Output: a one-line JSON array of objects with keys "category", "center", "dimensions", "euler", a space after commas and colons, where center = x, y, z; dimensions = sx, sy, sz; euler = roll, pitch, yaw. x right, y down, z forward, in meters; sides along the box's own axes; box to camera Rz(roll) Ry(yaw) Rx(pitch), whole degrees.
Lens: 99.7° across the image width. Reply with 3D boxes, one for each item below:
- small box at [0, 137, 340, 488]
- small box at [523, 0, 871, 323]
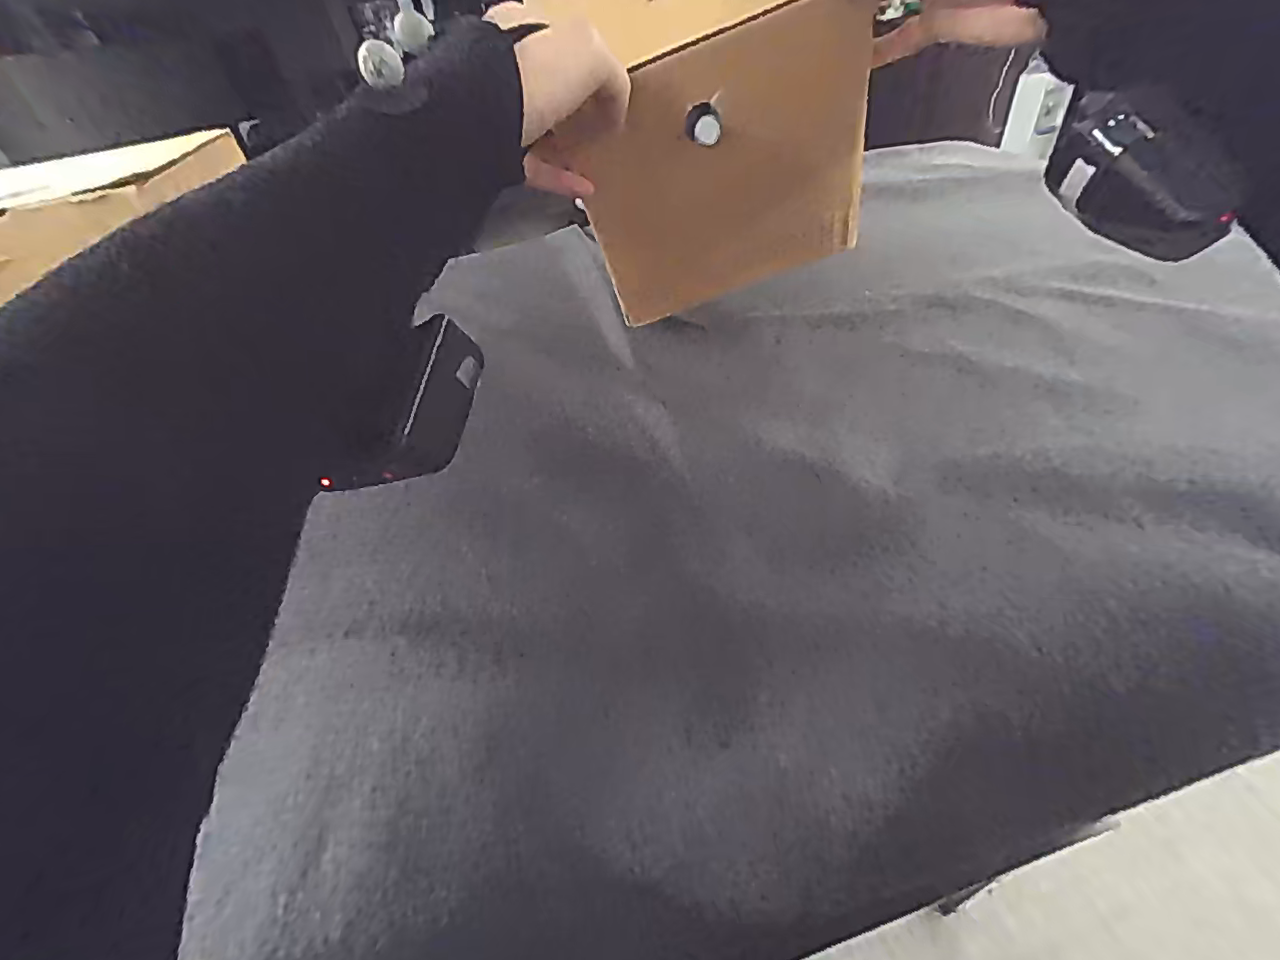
[{"category": "small box", "center": [-0.338, -0.113, 0.376], "dimensions": [0.168, 0.176, 0.179], "euler": [-16, 42, -7]}, {"category": "small box", "center": [0.038, -0.246, 0.381], "dimensions": [0.179, 0.176, 0.168], "euler": [-19, 58, 8]}]
